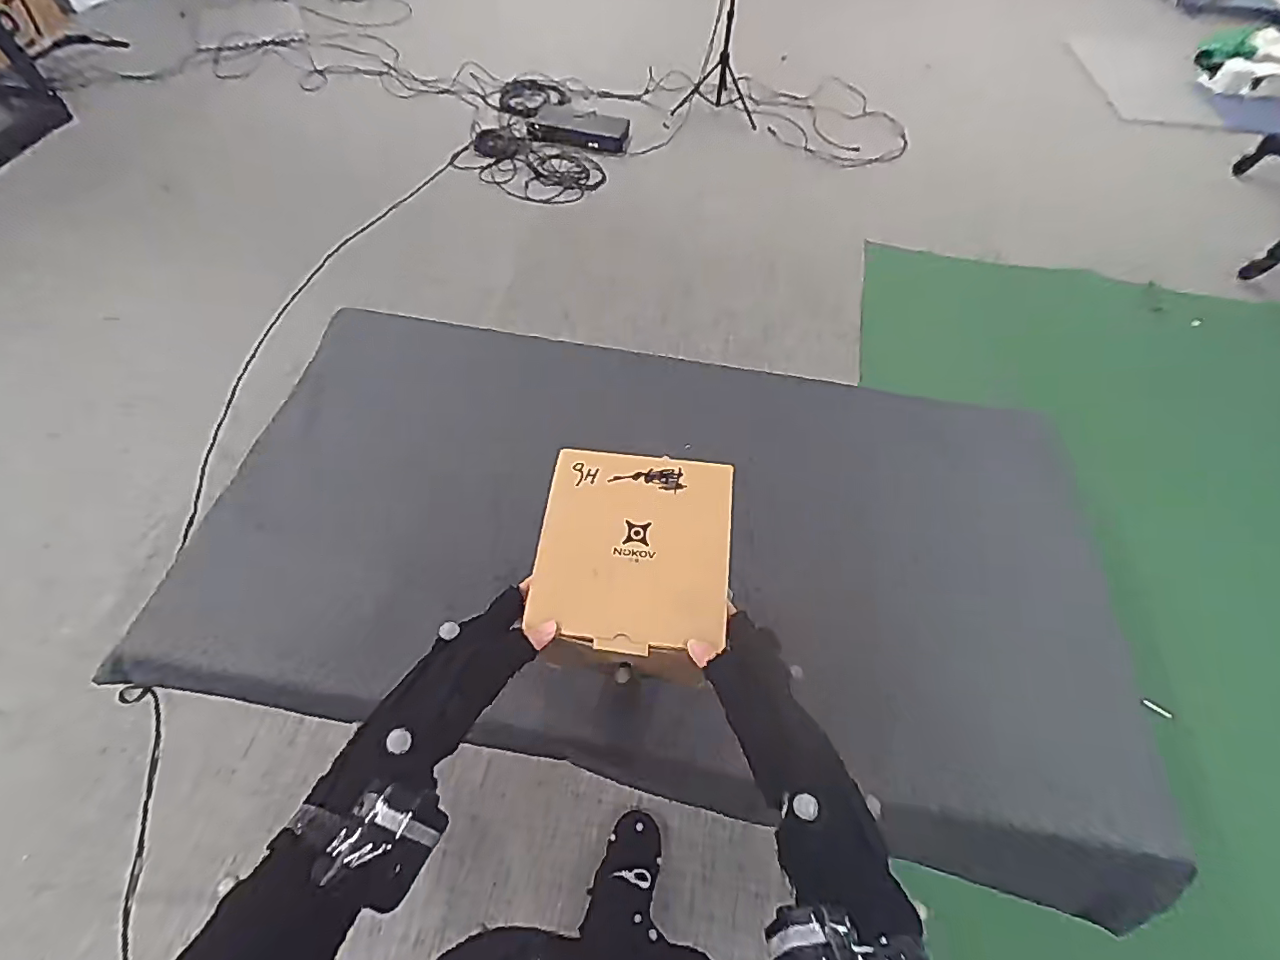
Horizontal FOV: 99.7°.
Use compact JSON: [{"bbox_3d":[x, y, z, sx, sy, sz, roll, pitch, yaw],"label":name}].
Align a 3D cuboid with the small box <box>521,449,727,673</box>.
[{"bbox_3d":[-0.006,0.089,0.544,0.168,0.176,0.179,5,63,4],"label":"small box"}]
